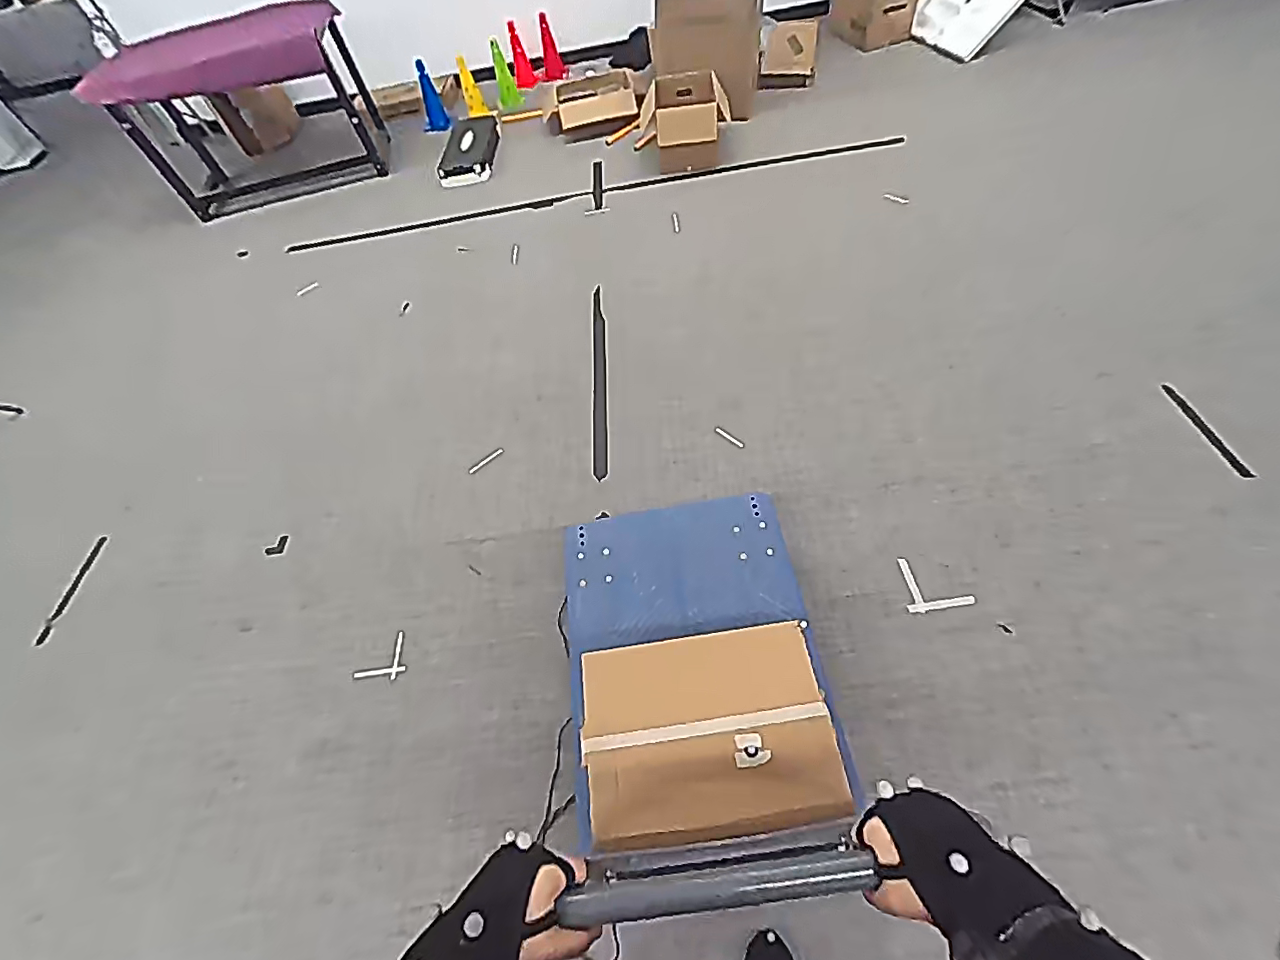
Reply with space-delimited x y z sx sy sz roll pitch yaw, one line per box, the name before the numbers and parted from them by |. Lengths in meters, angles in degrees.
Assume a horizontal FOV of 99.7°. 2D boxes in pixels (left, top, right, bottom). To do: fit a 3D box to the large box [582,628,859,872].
large box | 0.124 0.506 0.999 0.408 0.320 0.320 -9 54 1
